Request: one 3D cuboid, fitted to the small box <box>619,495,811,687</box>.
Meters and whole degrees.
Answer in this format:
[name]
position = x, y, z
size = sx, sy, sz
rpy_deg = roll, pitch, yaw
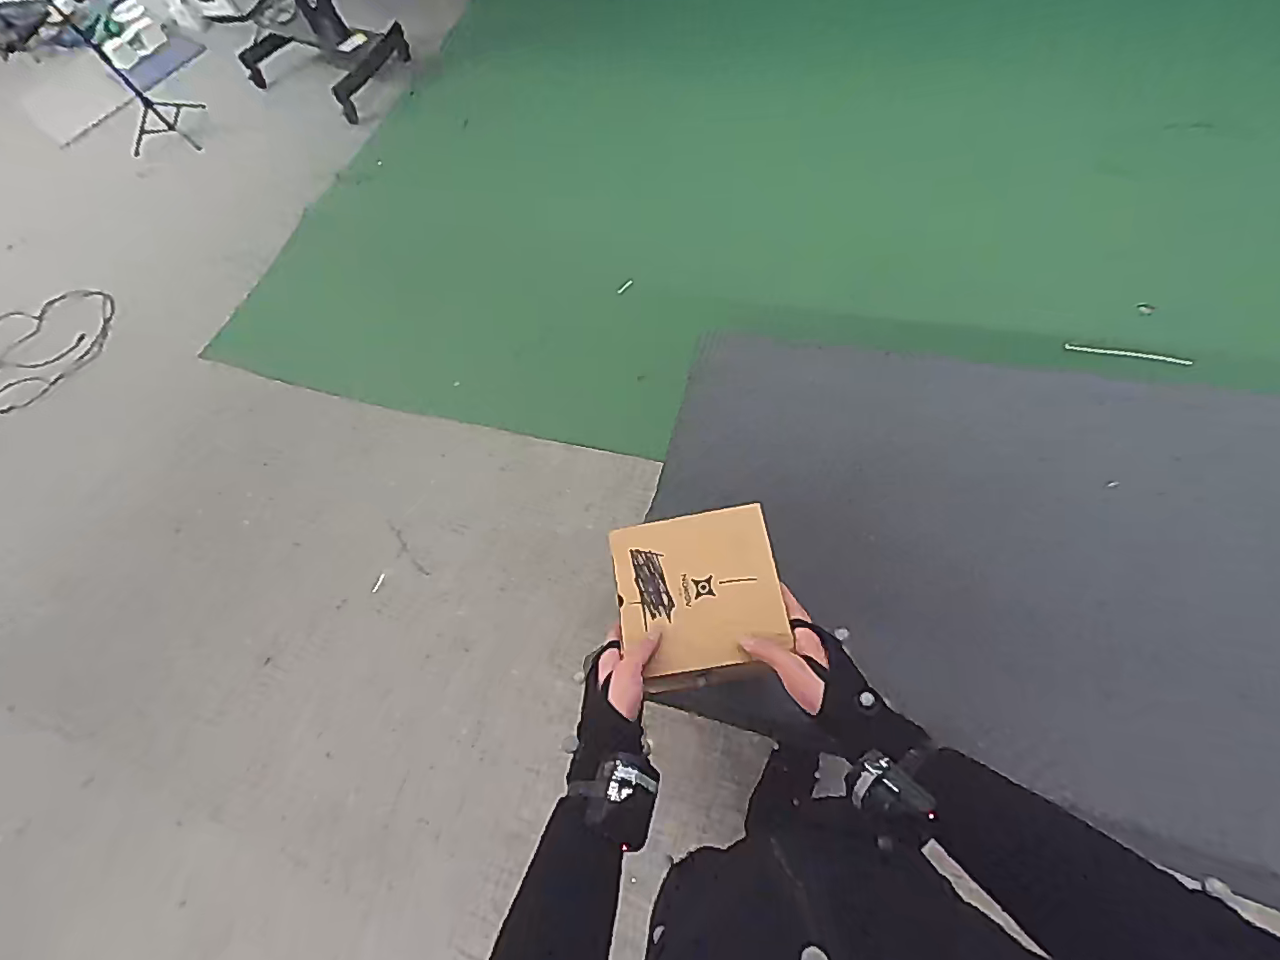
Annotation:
[small box]
position = 0.080, 0.137, 0.626
size = 0.179, 0.176, 0.168
rpy_deg = -9, 63, 3
